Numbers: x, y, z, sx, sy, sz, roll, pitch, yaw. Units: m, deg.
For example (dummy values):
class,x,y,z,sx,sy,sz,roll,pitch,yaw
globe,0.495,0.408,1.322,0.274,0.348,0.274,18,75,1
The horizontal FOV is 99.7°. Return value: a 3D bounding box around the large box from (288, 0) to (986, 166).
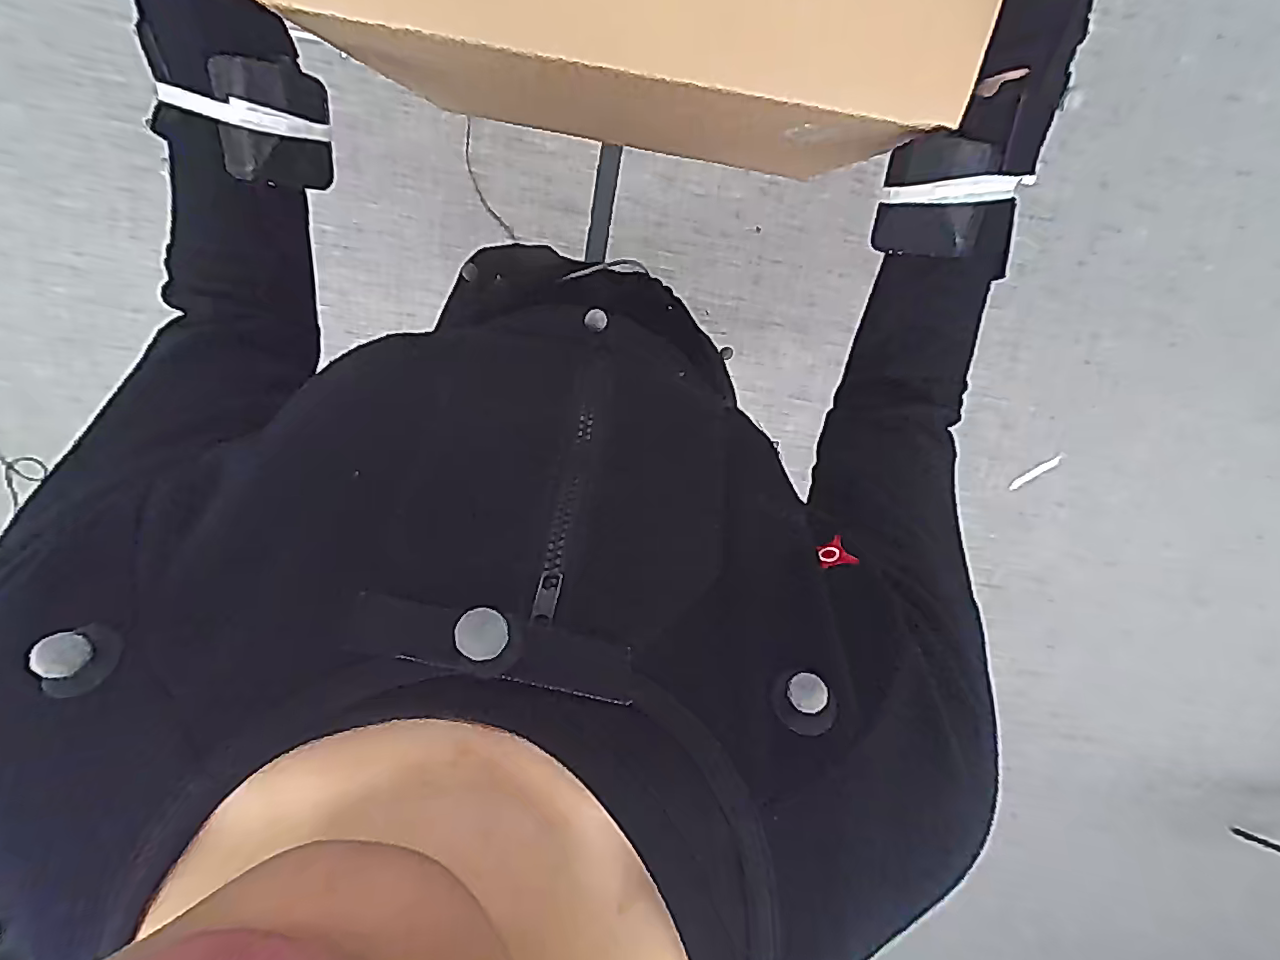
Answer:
class,x,y,z,sx,sy,sz,roll,pitch,yaw
large box,0.010,-0.443,0.385,0.408,0.320,0.320,8,116,-4
